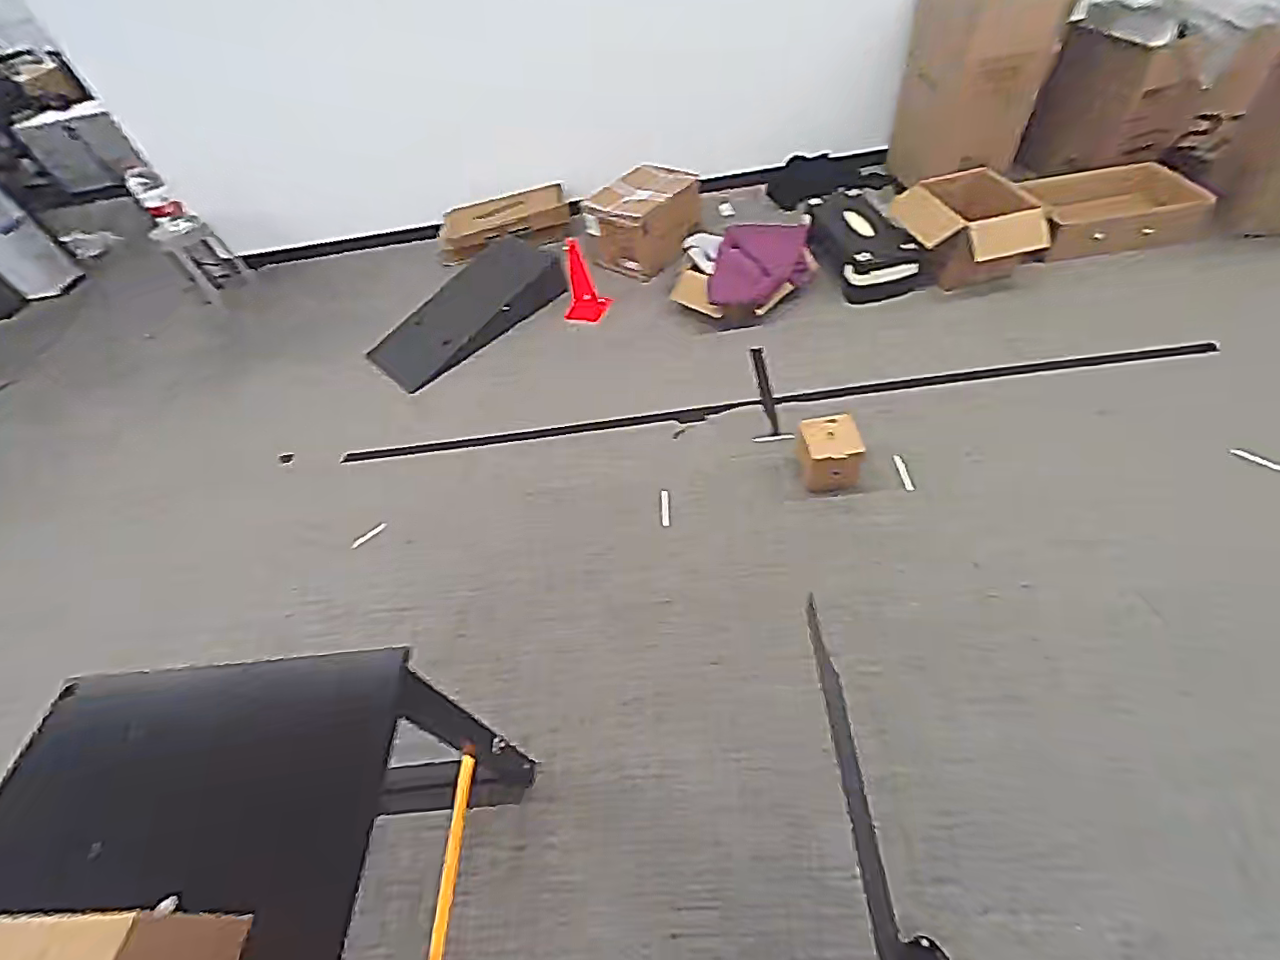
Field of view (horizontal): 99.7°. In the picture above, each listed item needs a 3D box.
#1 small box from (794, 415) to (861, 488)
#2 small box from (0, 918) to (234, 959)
[{"bbox_3d":[0.613,-0.086,1.788,0.168,0.176,0.179,-8,51,4],"label":"small box"},{"bbox_3d":[-0.559,0.547,0.533,0.168,0.176,0.179,-6,49,6],"label":"small box"}]
